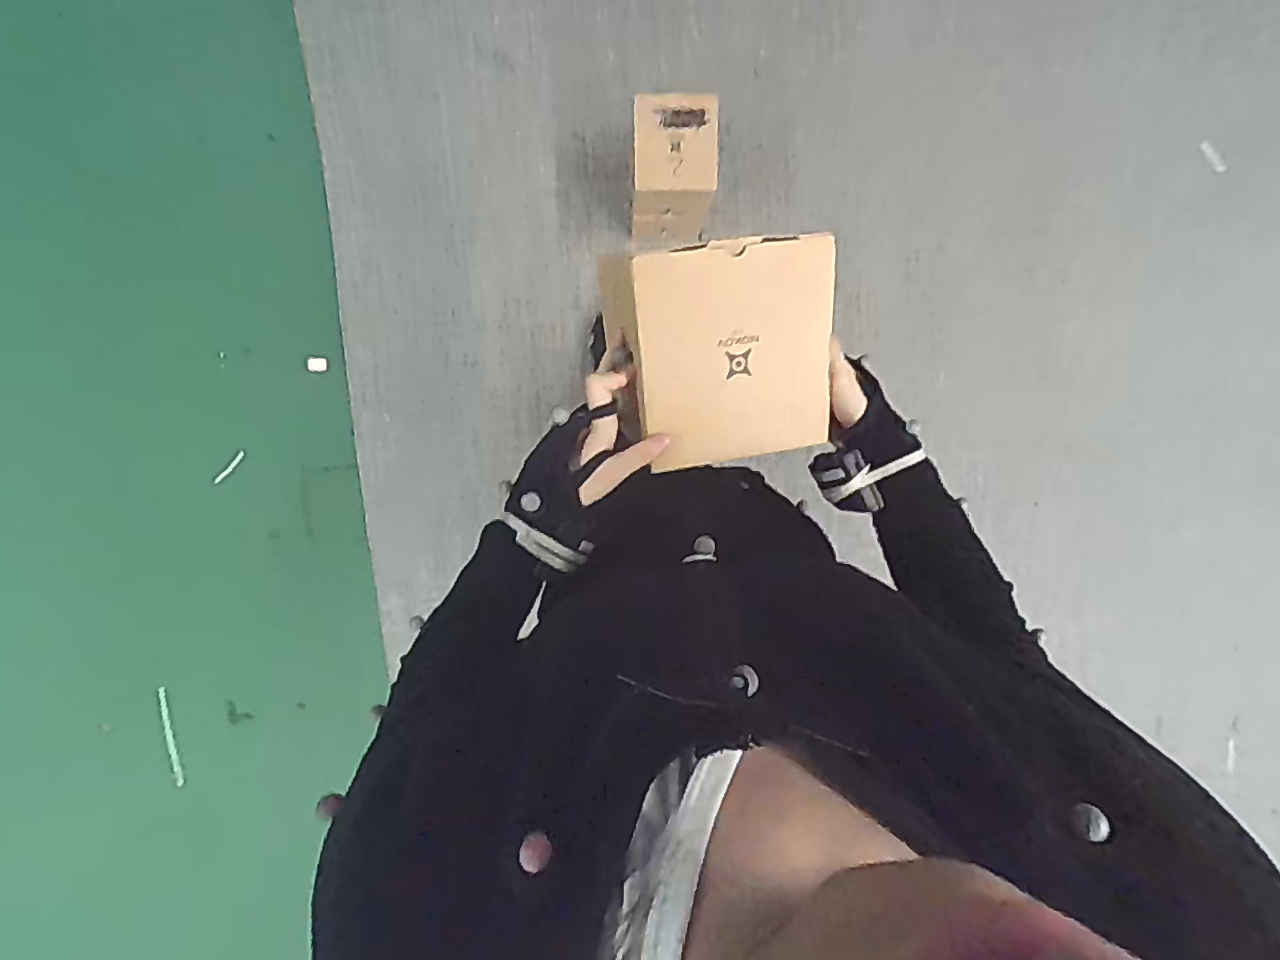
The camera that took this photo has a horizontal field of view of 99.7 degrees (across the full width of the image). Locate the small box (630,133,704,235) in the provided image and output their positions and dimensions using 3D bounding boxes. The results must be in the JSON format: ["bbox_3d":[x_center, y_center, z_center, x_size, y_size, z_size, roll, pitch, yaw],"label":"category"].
[{"bbox_3d":[0.062,-0.697,1.295,0.168,0.176,0.179,-3,100,-1],"label":"small box"}]

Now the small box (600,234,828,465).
[{"bbox_3d":[0.061,-0.133,0.521,0.168,0.176,0.179,-10,113,-9],"label":"small box"}]
